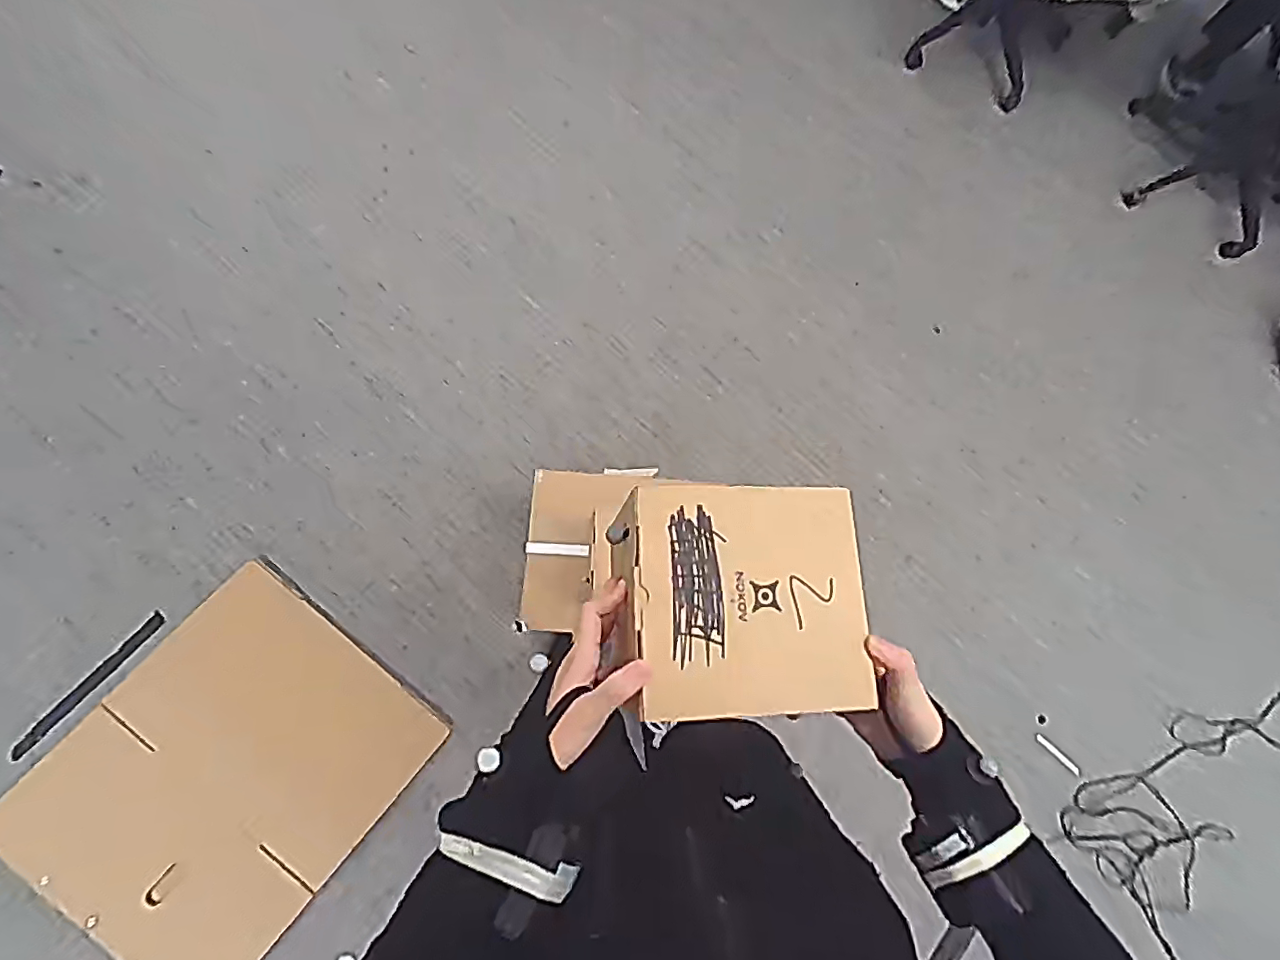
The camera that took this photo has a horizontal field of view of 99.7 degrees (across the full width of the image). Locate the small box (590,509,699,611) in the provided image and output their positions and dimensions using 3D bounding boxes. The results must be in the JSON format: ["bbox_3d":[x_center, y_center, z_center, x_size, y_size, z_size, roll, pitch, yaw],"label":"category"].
[{"bbox_3d":[0.001,0.148,0.969,0.179,0.176,0.168,2,79,-8],"label":"small box"}]
